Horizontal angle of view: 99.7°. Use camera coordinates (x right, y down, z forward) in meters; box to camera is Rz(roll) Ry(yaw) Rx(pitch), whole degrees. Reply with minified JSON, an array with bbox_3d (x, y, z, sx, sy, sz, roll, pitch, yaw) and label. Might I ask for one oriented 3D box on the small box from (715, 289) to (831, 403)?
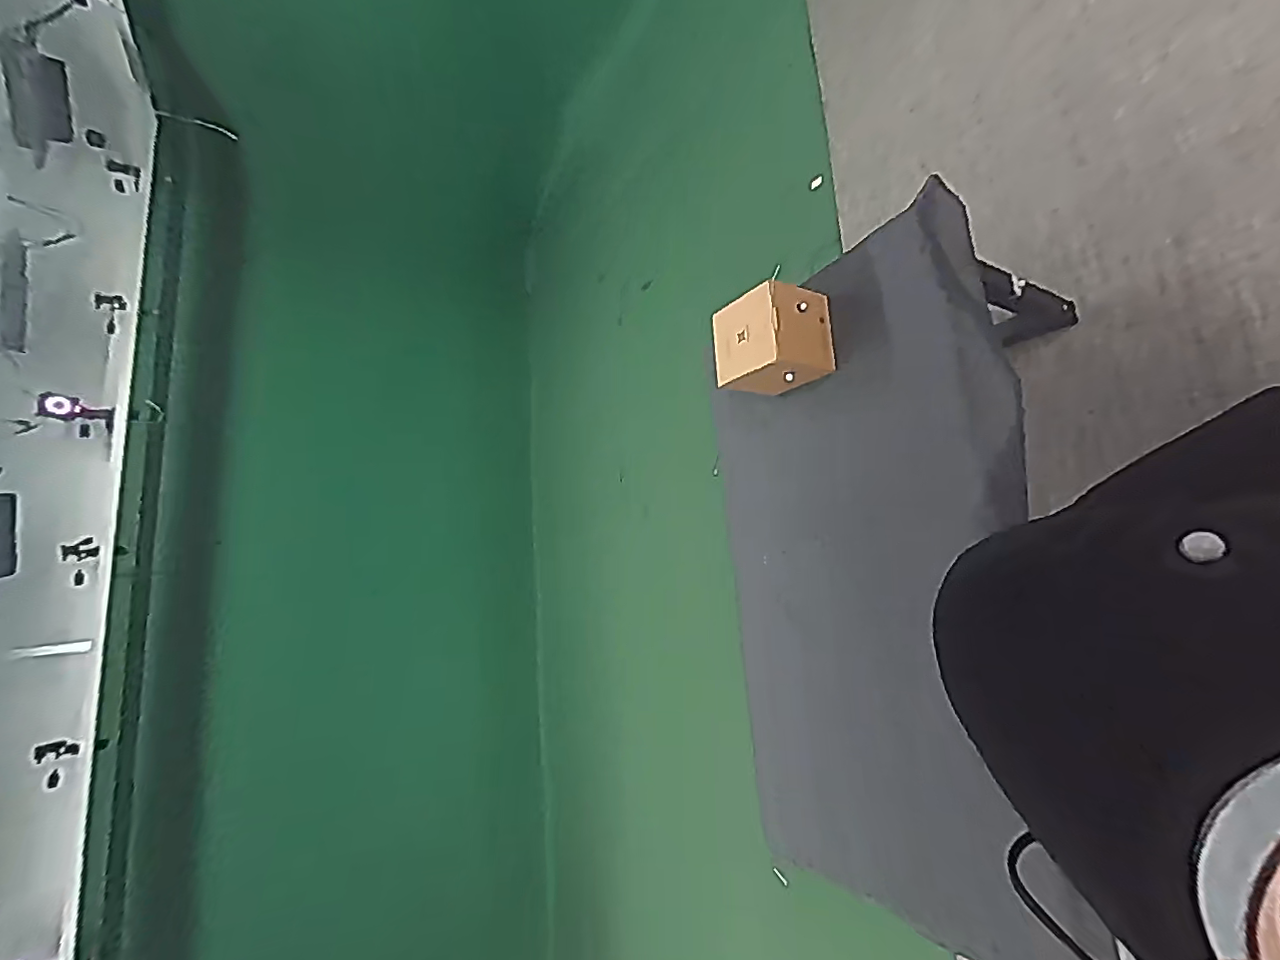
[{"bbox_3d":[0.281,-0.270,1.132,0.179,0.176,0.168,-18,70,57],"label":"small box"}]
